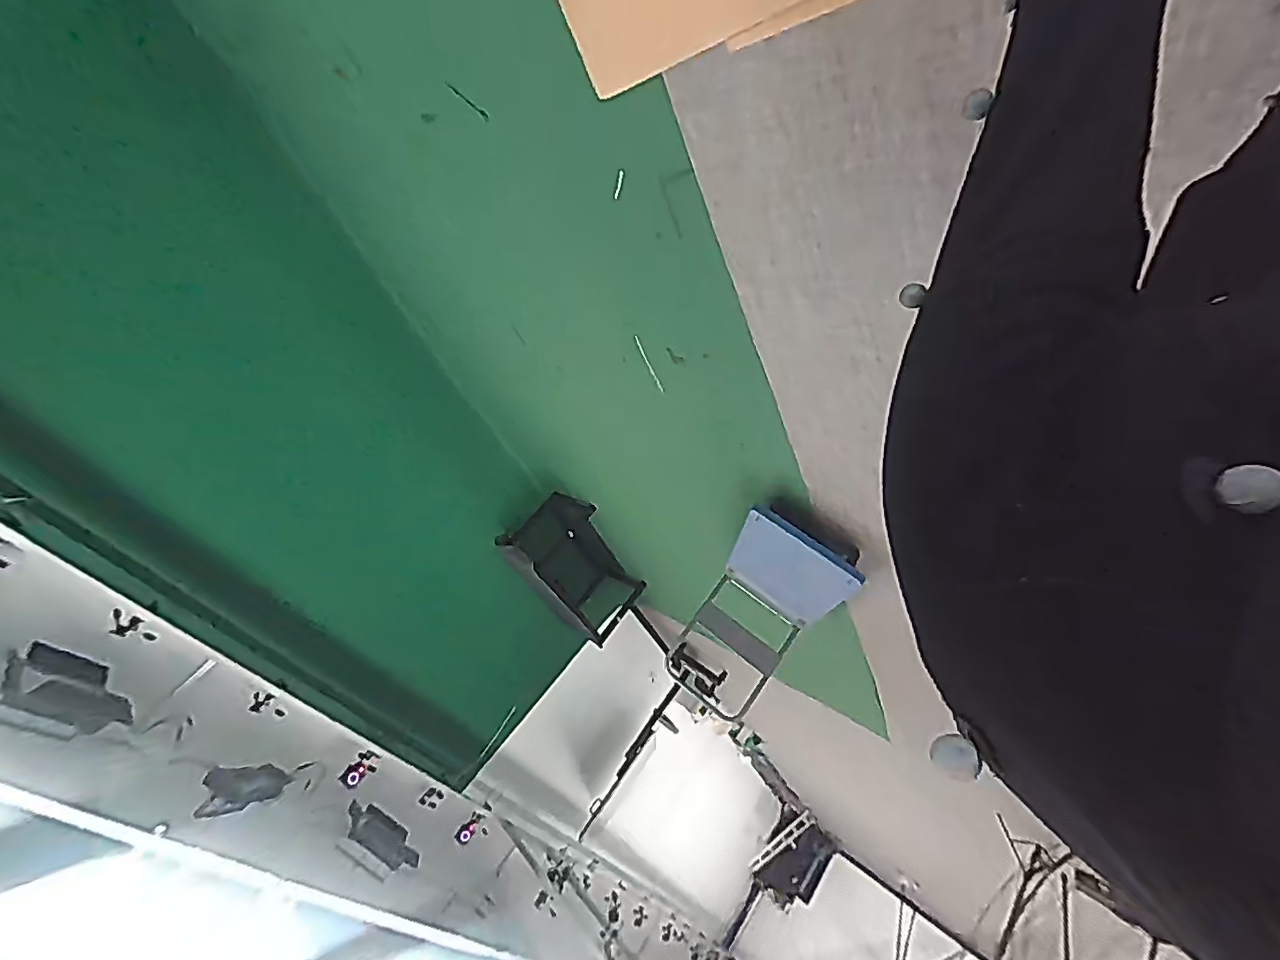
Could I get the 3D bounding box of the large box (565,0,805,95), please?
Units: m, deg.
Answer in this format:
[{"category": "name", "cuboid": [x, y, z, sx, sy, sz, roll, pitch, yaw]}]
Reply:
[{"category": "large box", "cuboid": [0.110, -0.793, 0.718, 0.408, 0.320, 0.320, 17, 143, 45]}]
